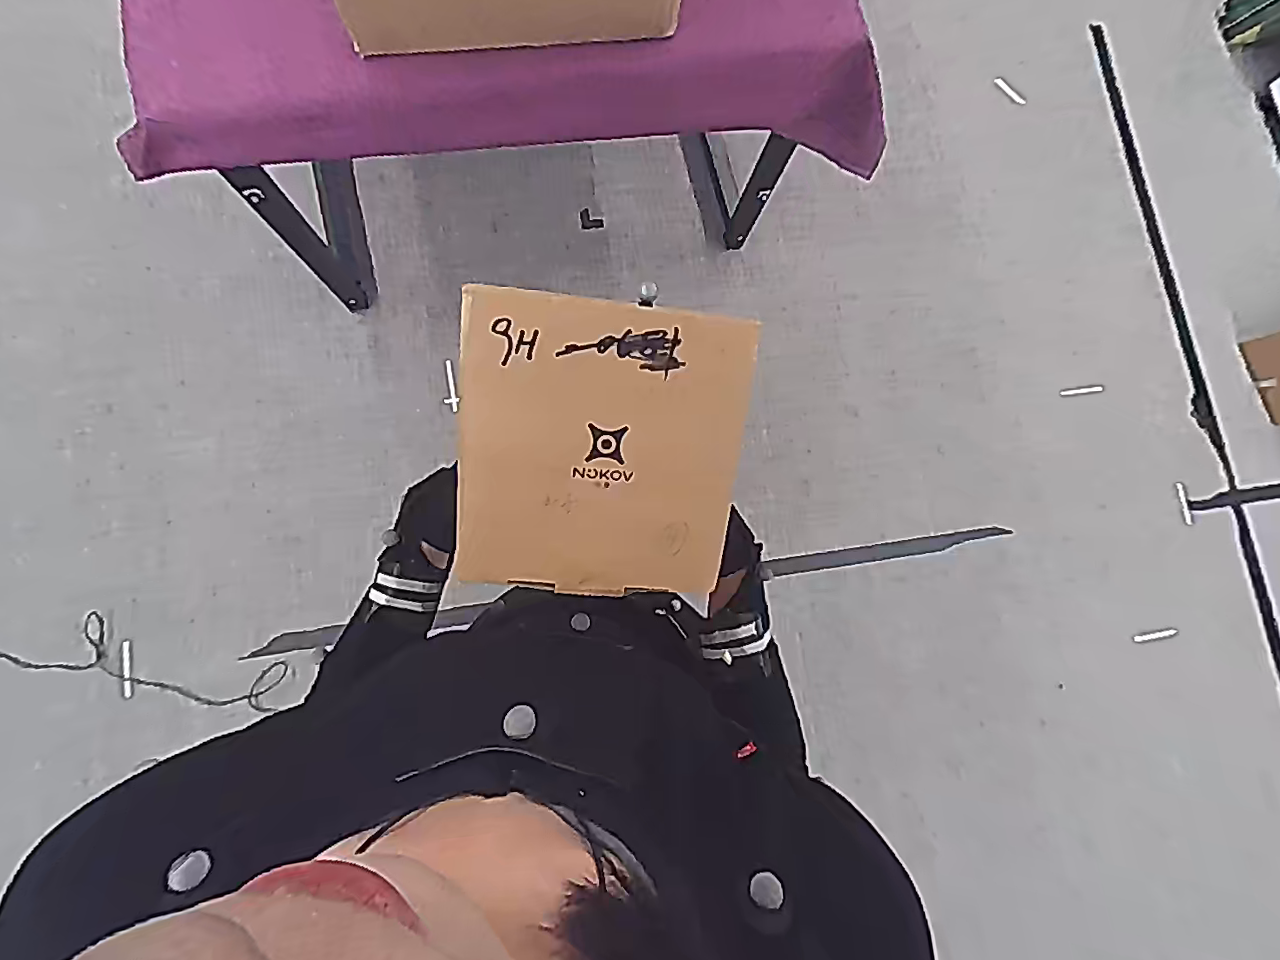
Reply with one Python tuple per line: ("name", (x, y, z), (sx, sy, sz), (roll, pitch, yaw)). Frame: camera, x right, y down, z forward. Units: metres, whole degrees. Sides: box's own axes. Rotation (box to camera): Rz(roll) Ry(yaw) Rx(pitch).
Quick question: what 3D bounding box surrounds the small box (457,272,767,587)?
("small box", (-0.029, -0.045, 0.386), (0.168, 0.176, 0.179), (4, 108, -9))
